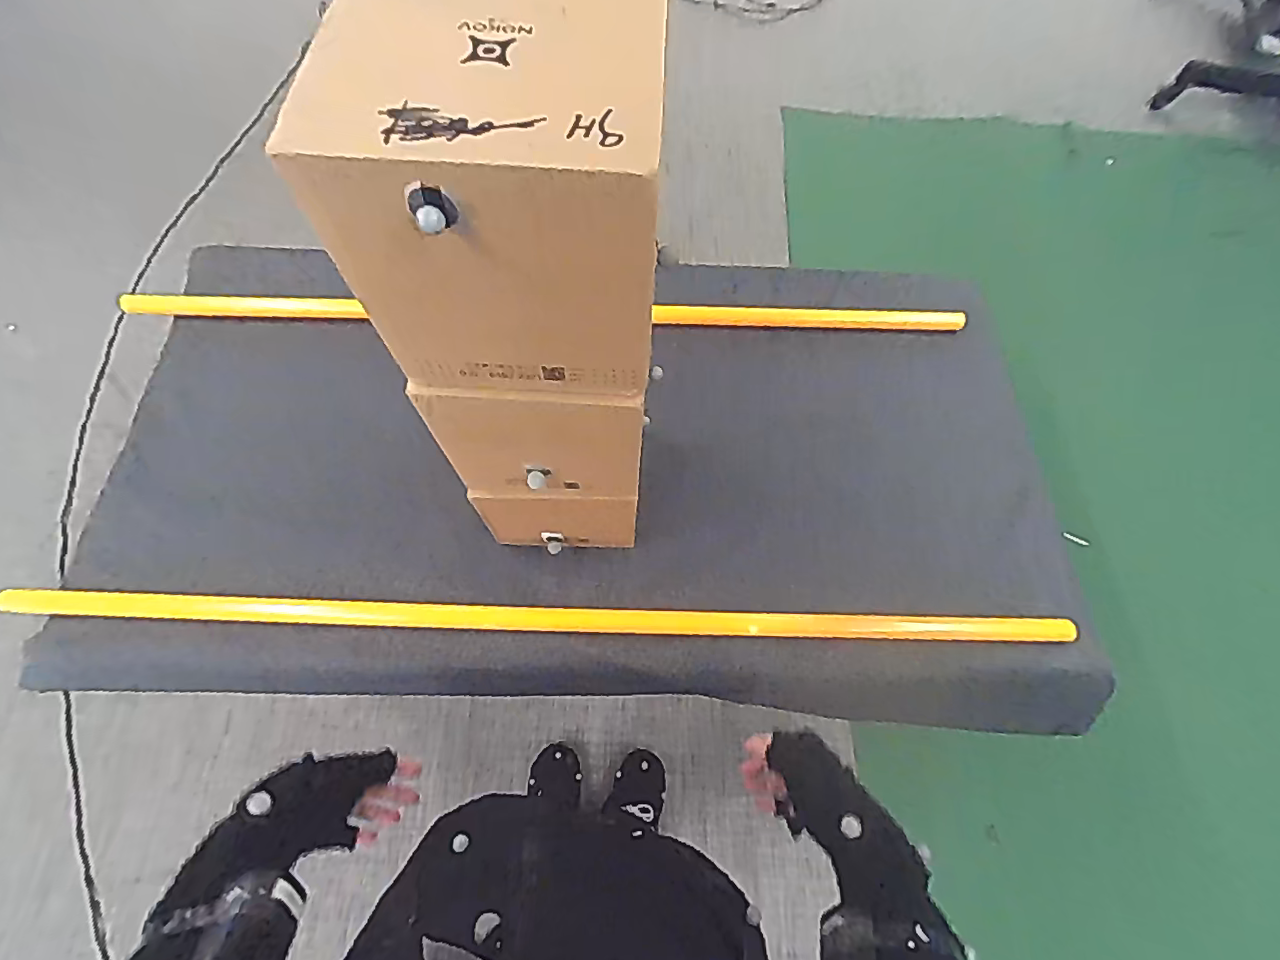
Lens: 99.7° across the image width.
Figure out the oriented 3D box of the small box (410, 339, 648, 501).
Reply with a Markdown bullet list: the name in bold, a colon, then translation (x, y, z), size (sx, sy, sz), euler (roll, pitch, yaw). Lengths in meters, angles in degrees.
- **small box**: translation (-0.078, -0.097, 0.484), size (0.168, 0.176, 0.179), euler (4, 66, 0)

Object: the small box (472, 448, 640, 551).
- **small box**: translation (-0.085, -0.025, 0.632), size (0.168, 0.176, 0.179), euler (0, 67, -1)

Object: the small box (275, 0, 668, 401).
- **small box**: translation (-0.073, -0.172, 0.338), size (0.168, 0.176, 0.179), euler (3, 65, 1)
